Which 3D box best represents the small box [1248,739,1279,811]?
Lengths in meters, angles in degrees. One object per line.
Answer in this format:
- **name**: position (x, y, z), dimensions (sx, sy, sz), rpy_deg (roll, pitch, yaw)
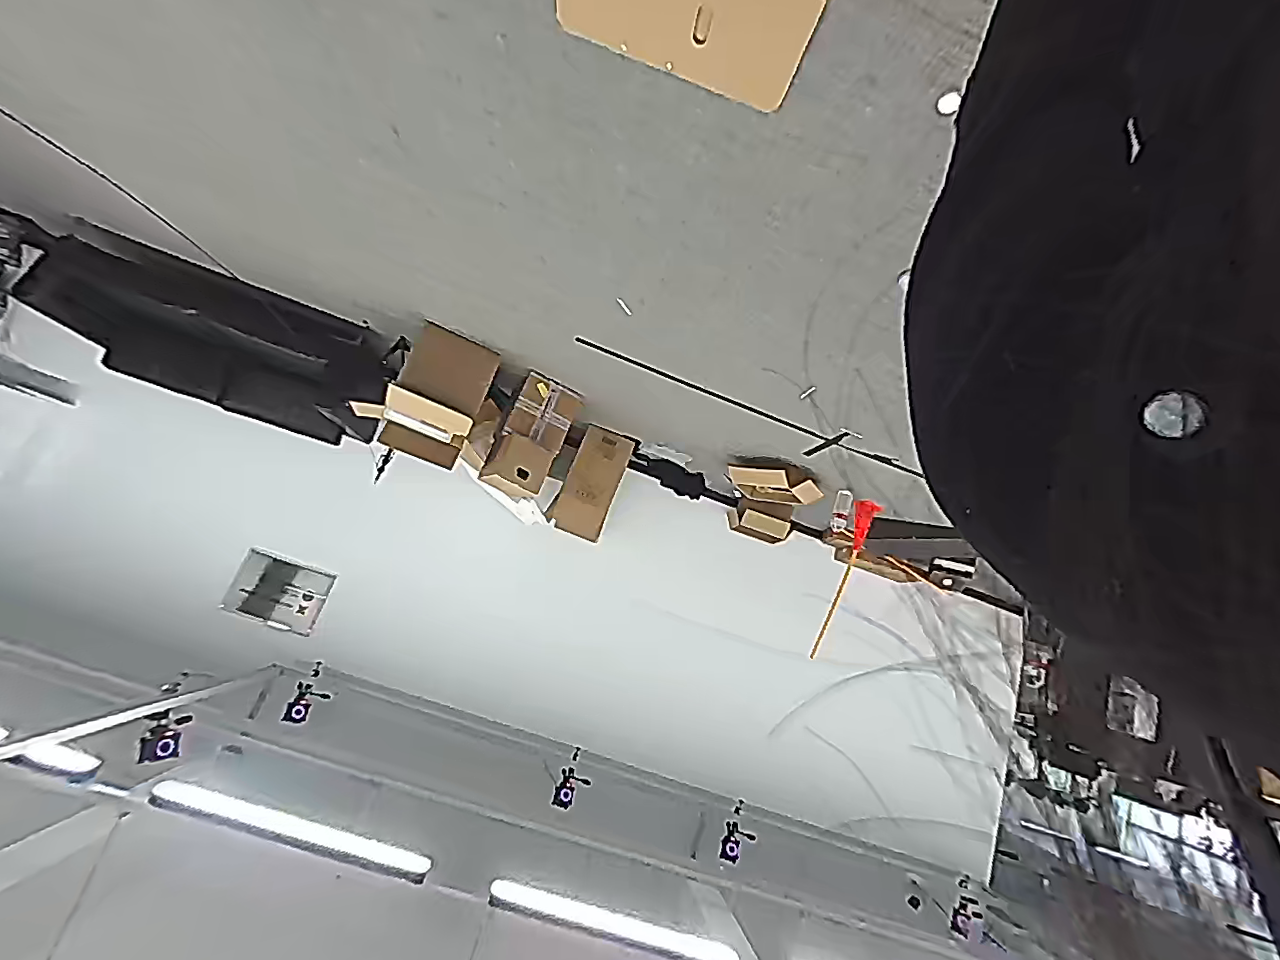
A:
- **small box**: position (1.823, 0.830, 1.474), dimensions (0.179, 0.176, 0.168), rpy_deg (22, 165, -10)
